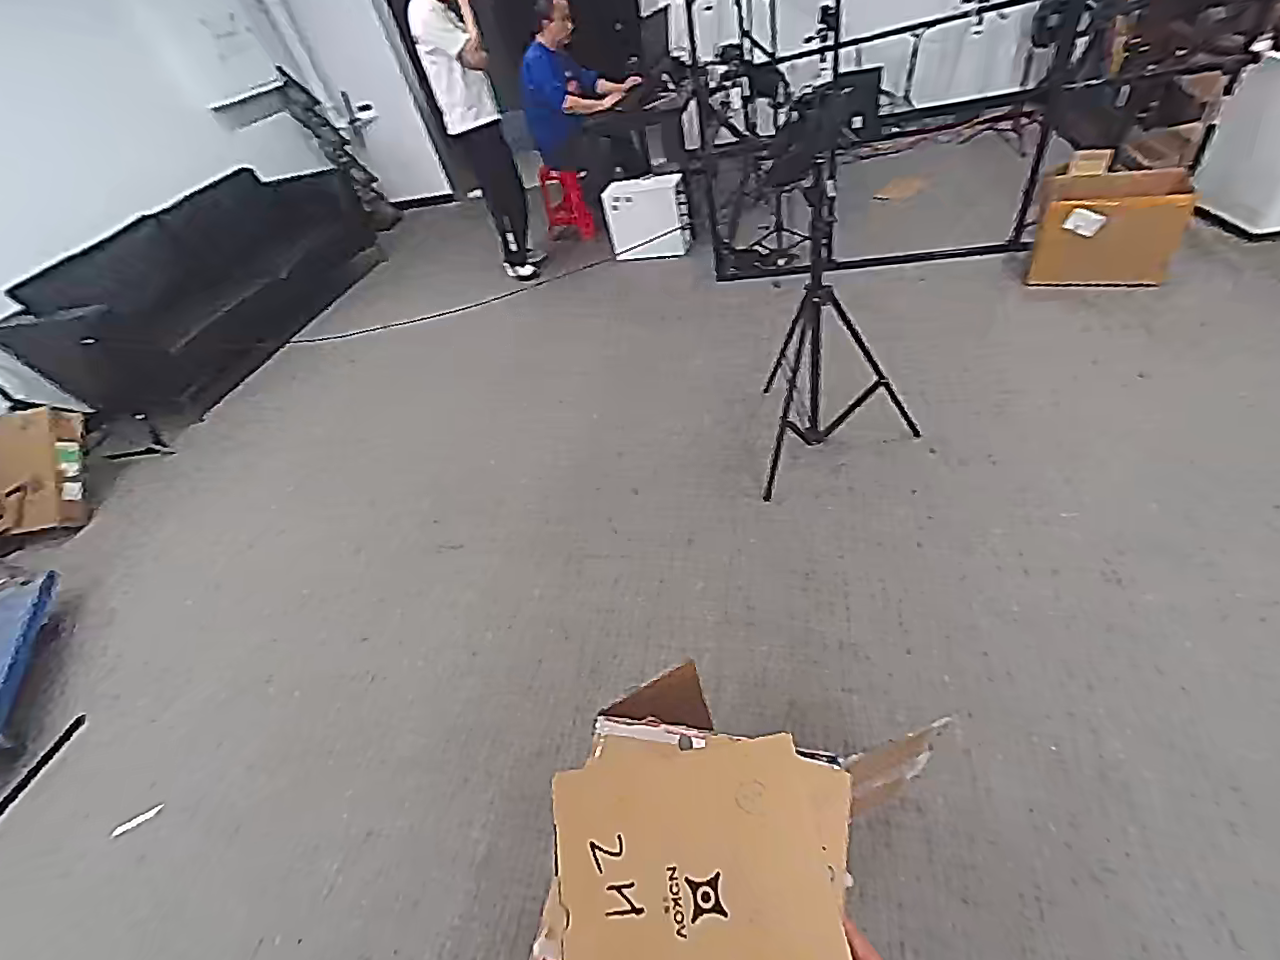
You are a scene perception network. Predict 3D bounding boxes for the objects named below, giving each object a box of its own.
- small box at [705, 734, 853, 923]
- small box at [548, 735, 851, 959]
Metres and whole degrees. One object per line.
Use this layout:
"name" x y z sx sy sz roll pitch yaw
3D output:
"small box" 0.158 0.445 0.667 0.179 0.176 0.168 7 50 20
"small box" 0.040 0.301 0.402 0.179 0.176 0.168 -11 56 2
